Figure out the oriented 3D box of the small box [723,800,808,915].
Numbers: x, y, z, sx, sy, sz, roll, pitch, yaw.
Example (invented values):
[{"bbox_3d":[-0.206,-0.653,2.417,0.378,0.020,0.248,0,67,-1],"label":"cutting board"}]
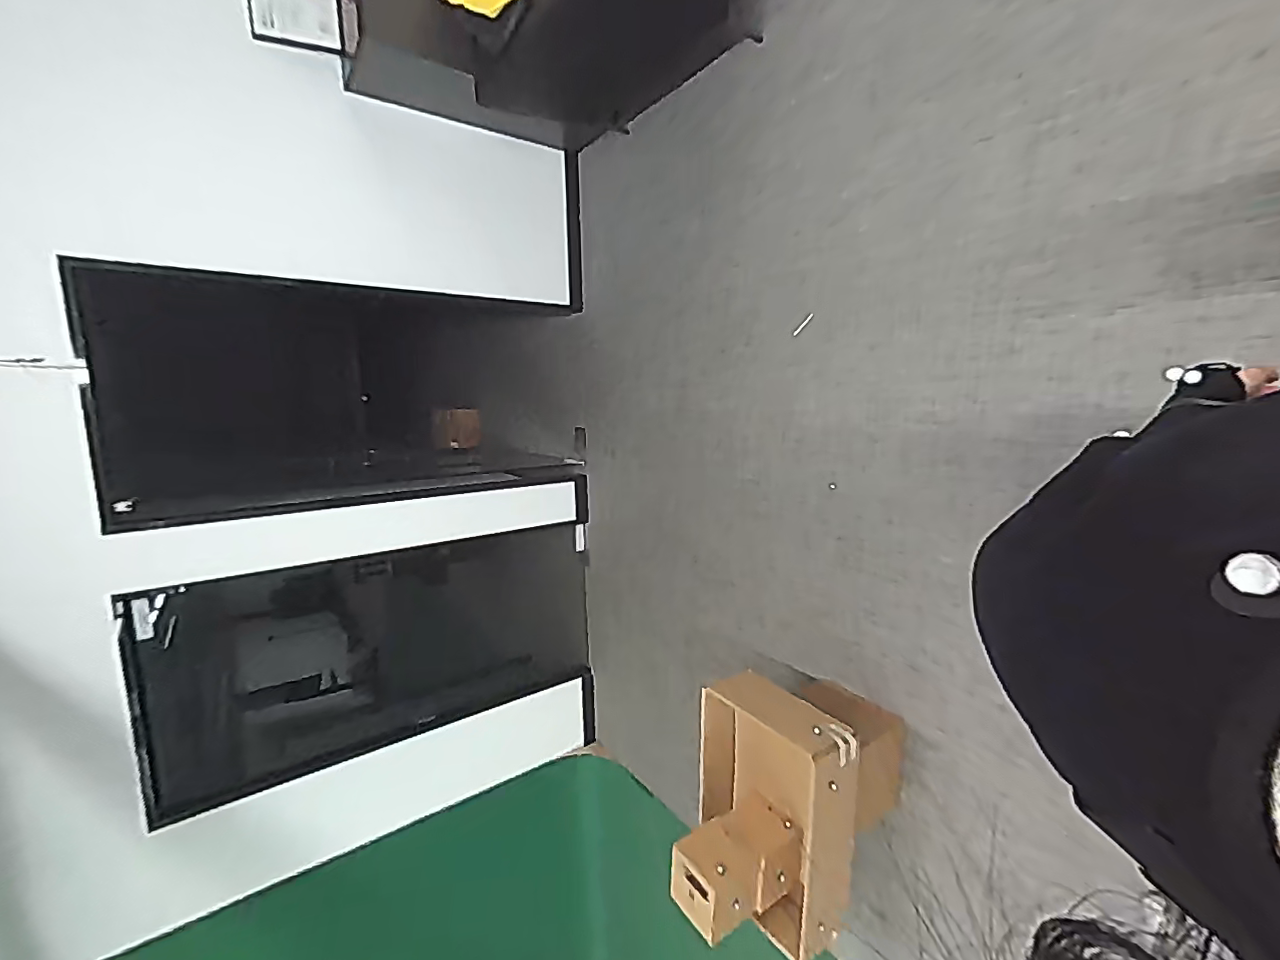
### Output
[{"bbox_3d":[0.354,1.049,1.523,0.168,0.176,0.179,15,108,54],"label":"small box"}]
